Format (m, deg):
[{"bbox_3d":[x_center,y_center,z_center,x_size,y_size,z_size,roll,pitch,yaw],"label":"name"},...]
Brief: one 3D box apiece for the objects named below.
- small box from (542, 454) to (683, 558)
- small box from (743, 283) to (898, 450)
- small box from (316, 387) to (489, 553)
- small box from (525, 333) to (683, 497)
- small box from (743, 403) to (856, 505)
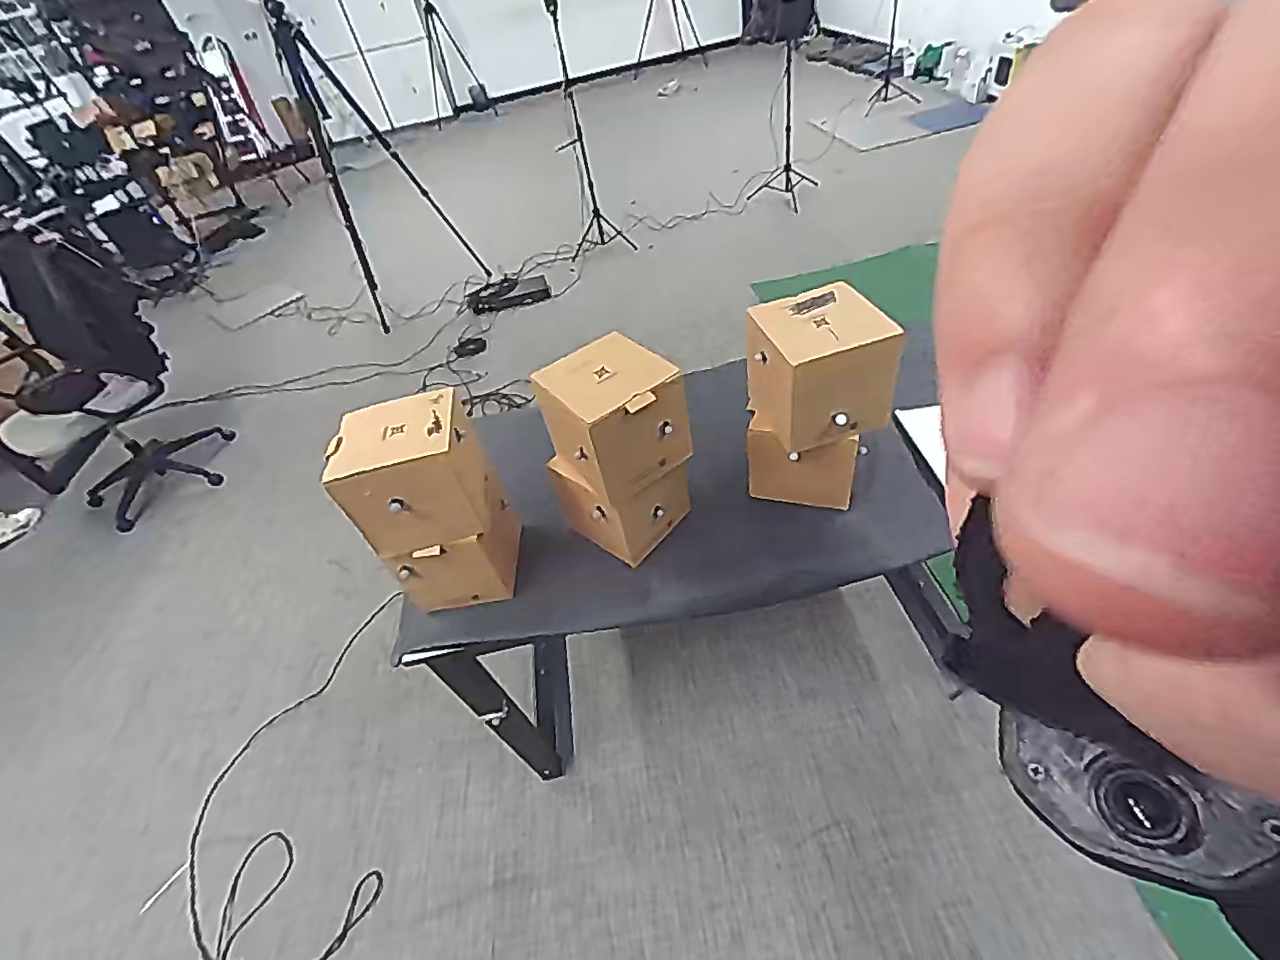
[{"bbox_3d":[-0.039,0.014,0.966,0.179,0.176,0.168,27,56,33],"label":"small box"},{"bbox_3d":[0.269,-0.177,0.847,0.168,0.176,0.179,-17,45,-2],"label":"small box"},{"bbox_3d":[-0.347,-0.011,0.830,0.179,0.176,0.168,-15,43,-2],"label":"small box"},{"bbox_3d":[-0.049,-0.098,0.846,0.168,0.176,0.179,-33,47,-20],"label":"small box"},{"bbox_3d":[0.293,-0.073,0.973,0.179,0.176,0.168,8,48,21],"label":"small box"}]
